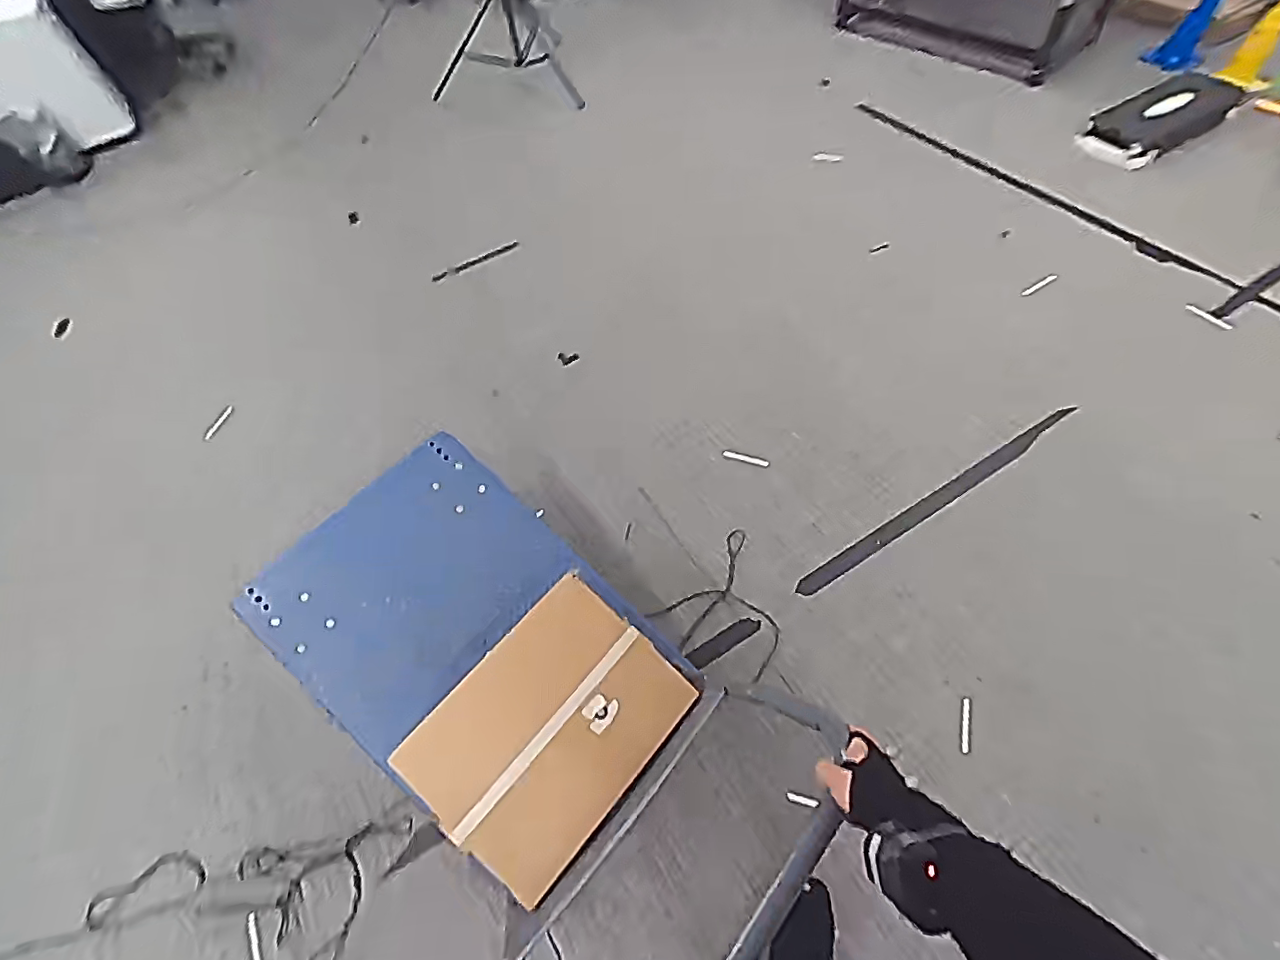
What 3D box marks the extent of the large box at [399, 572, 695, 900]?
[{"bbox_3d":[-0.165,0.447,1.028,0.320,0.320,0.408,42,69,5],"label":"large box"}]
